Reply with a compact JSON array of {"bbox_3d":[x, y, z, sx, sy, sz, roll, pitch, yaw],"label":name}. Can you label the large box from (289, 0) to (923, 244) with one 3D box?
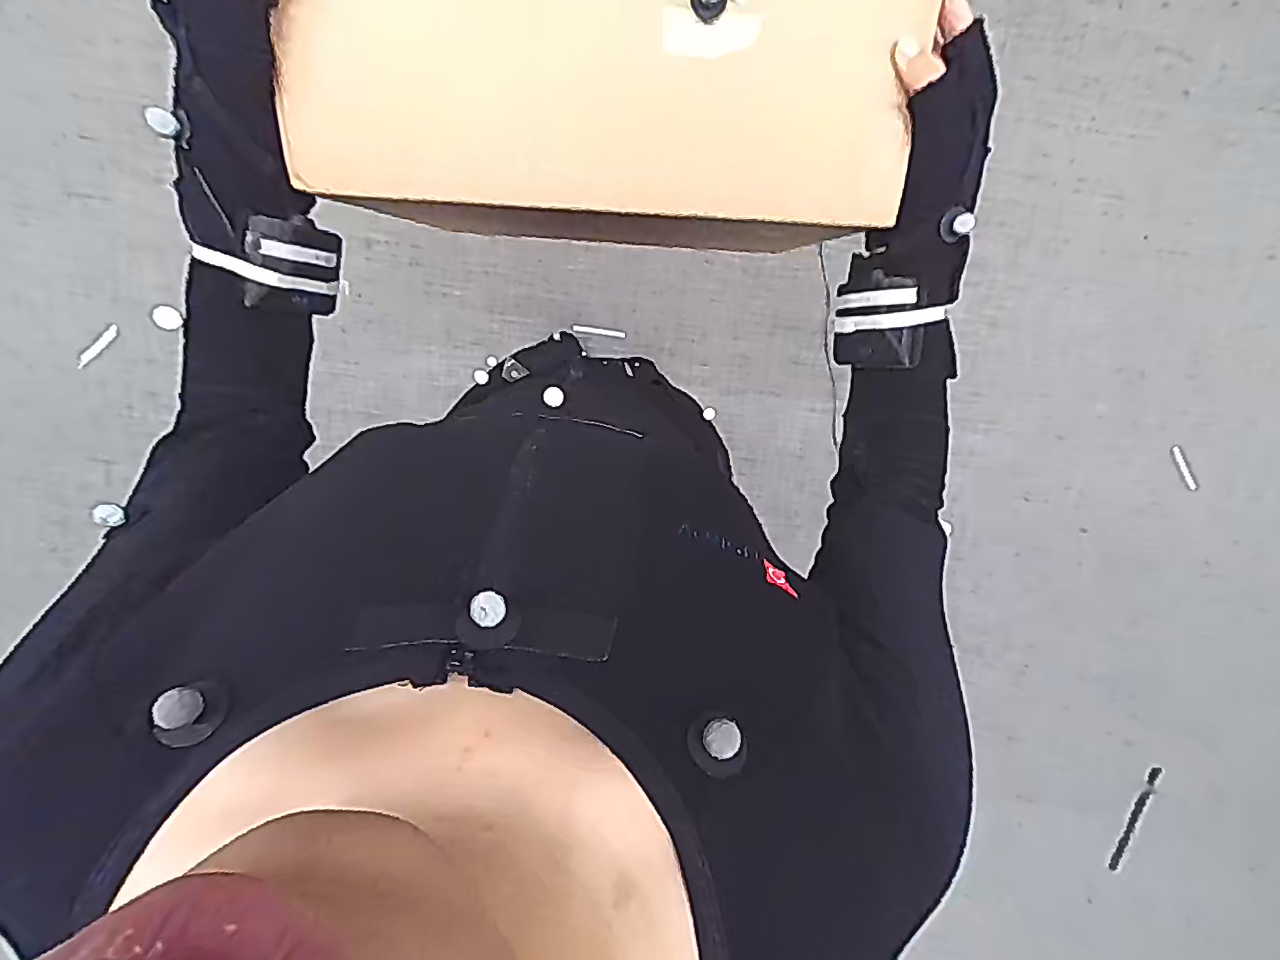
[{"bbox_3d":[-0.020,-0.388,0.464,0.408,0.320,0.320,3,110,-1],"label":"large box"}]
